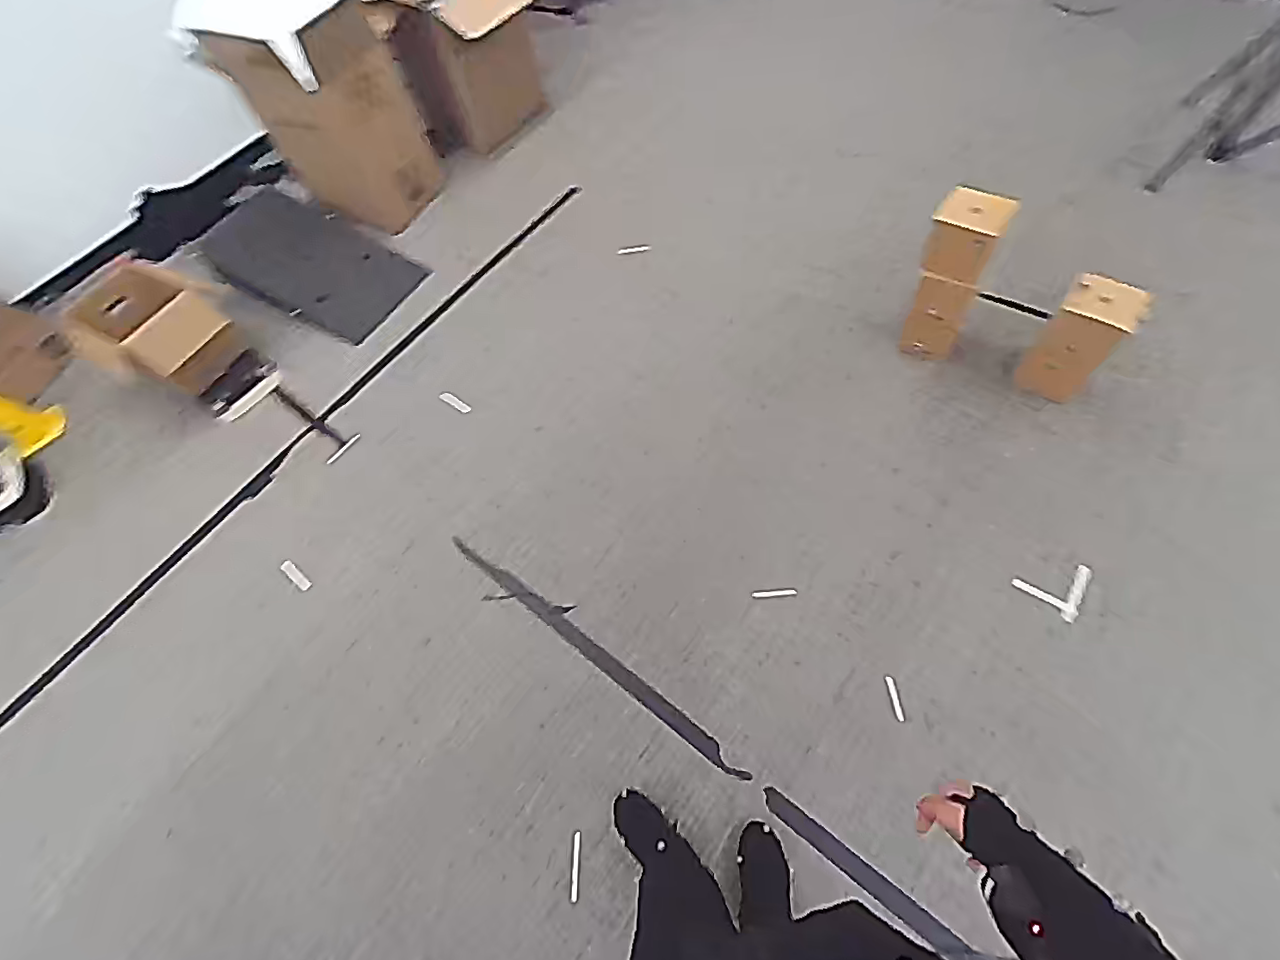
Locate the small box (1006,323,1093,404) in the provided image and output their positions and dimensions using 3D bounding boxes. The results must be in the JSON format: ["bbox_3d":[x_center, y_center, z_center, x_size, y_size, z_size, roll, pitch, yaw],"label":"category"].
[{"bbox_3d":[1.310,-0.373,1.717,0.179,0.176,0.168,32,71,22],"label":"small box"}]

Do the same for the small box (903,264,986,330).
[{"bbox_3d":[0.962,-0.611,1.714,0.168,0.176,0.179,26,69,22],"label":"small box"}]

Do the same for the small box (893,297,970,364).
[{"bbox_3d":[0.993,-0.534,1.855,0.168,0.176,0.179,25,68,21],"label":"small box"}]

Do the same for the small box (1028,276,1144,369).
[{"bbox_3d":[1.289,-0.450,1.574,0.179,0.176,0.168,33,71,22],"label":"small box"}]

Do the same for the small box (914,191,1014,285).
[{"bbox_3d":[0.936,-0.702,1.580,0.179,0.176,0.168,31,70,23],"label":"small box"}]
